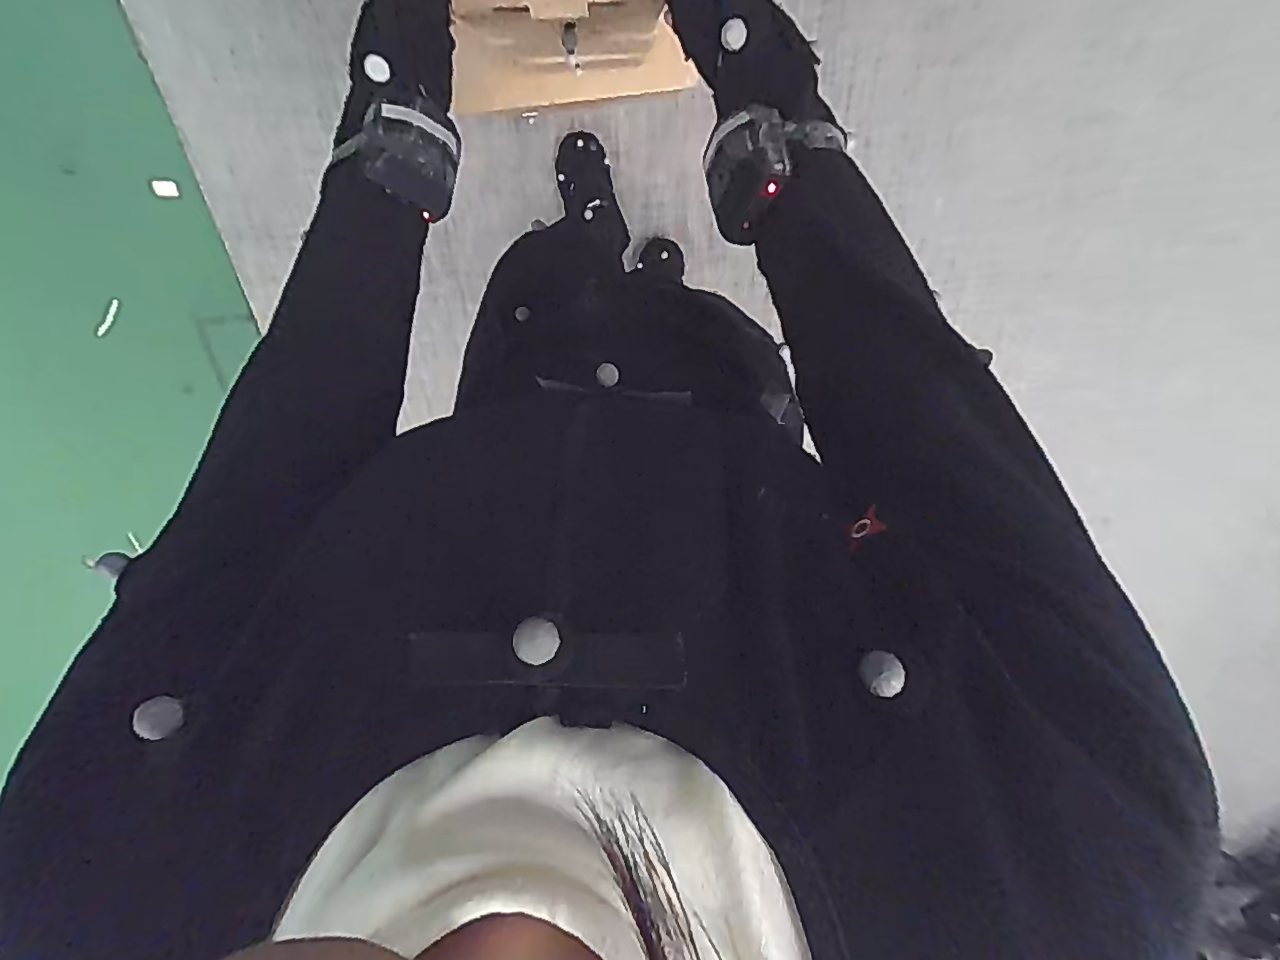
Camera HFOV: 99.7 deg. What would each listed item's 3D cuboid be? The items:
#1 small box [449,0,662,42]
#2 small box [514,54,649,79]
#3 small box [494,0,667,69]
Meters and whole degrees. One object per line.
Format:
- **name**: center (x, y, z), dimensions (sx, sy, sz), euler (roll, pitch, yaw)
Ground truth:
- **small box**: center (-0.065, -0.467, 0.431), dimensions (0.168, 0.176, 0.179), euler (-3, 125, 1)
- **small box**: center (-0.081, -0.638, 0.710), dimensions (0.179, 0.176, 0.168), euler (-4, 124, 0)
- **small box**: center (-0.069, -0.549, 0.573), dimensions (0.179, 0.176, 0.168), euler (-5, 124, 1)
